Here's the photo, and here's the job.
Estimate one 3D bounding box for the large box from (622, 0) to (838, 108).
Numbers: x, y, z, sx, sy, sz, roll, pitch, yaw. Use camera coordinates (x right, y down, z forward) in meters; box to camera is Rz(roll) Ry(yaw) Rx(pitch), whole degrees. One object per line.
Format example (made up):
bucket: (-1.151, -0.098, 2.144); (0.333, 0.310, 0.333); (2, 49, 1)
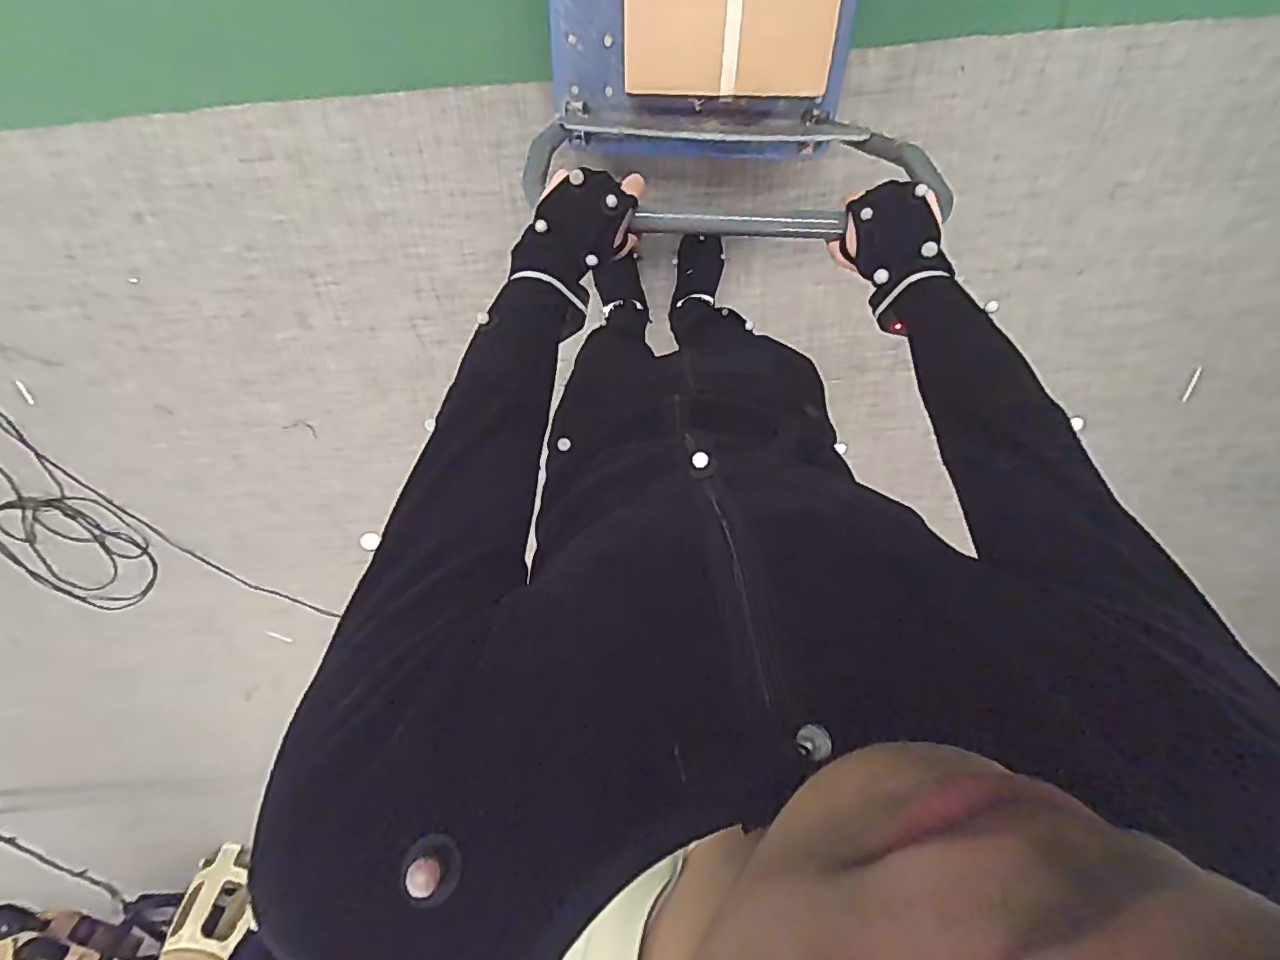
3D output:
large box: (0.134, -0.841, 0.860); (0.320, 0.320, 0.408); (1, 123, -1)
